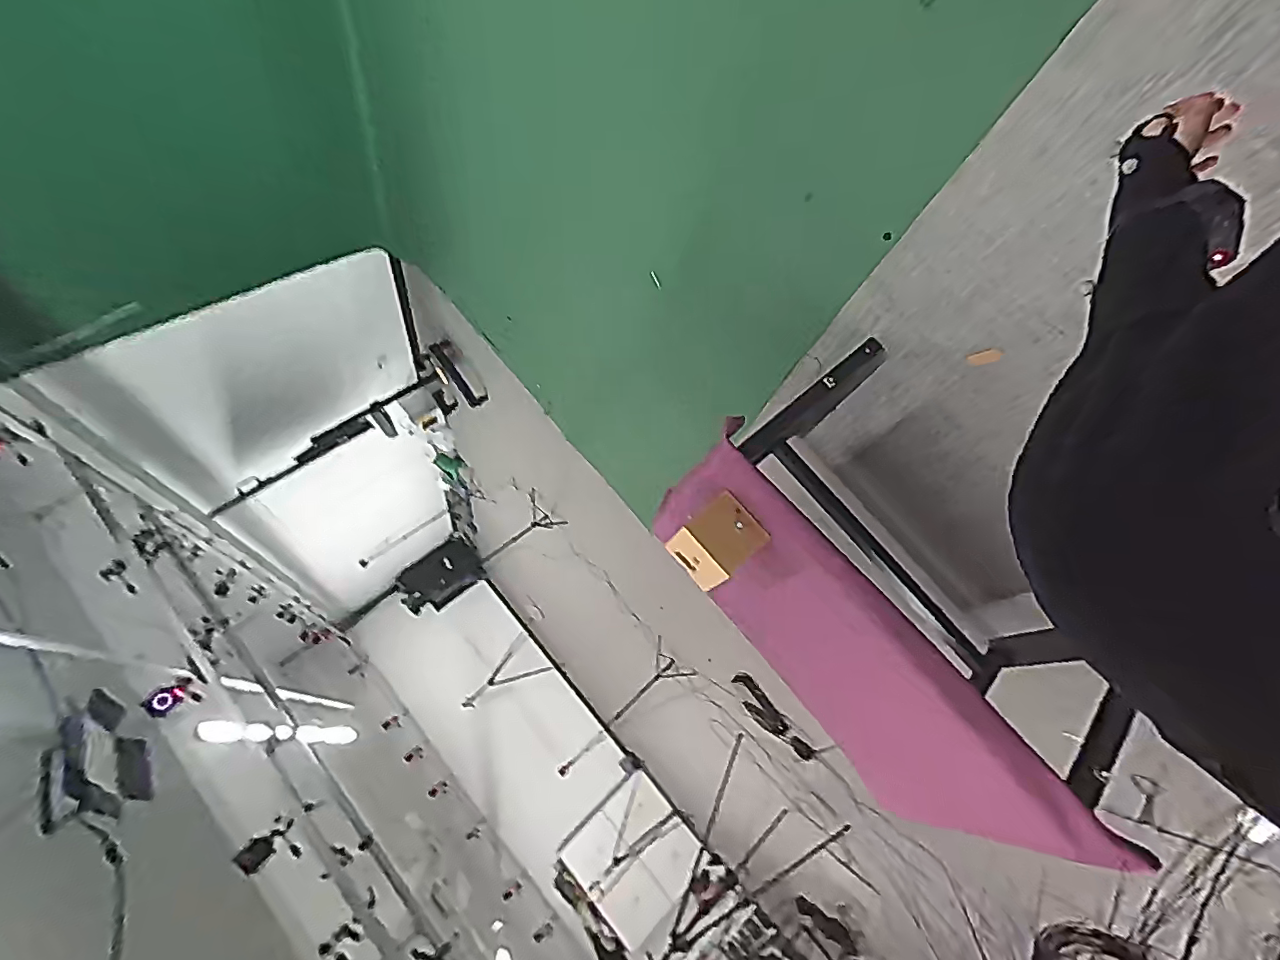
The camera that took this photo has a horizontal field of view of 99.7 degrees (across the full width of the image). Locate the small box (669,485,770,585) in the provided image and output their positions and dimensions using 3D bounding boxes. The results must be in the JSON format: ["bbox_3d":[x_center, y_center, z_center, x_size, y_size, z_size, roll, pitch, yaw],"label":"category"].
[{"bbox_3d":[0.209,0.145,1.415,0.168,0.176,0.179,47,154,8],"label":"small box"}]
